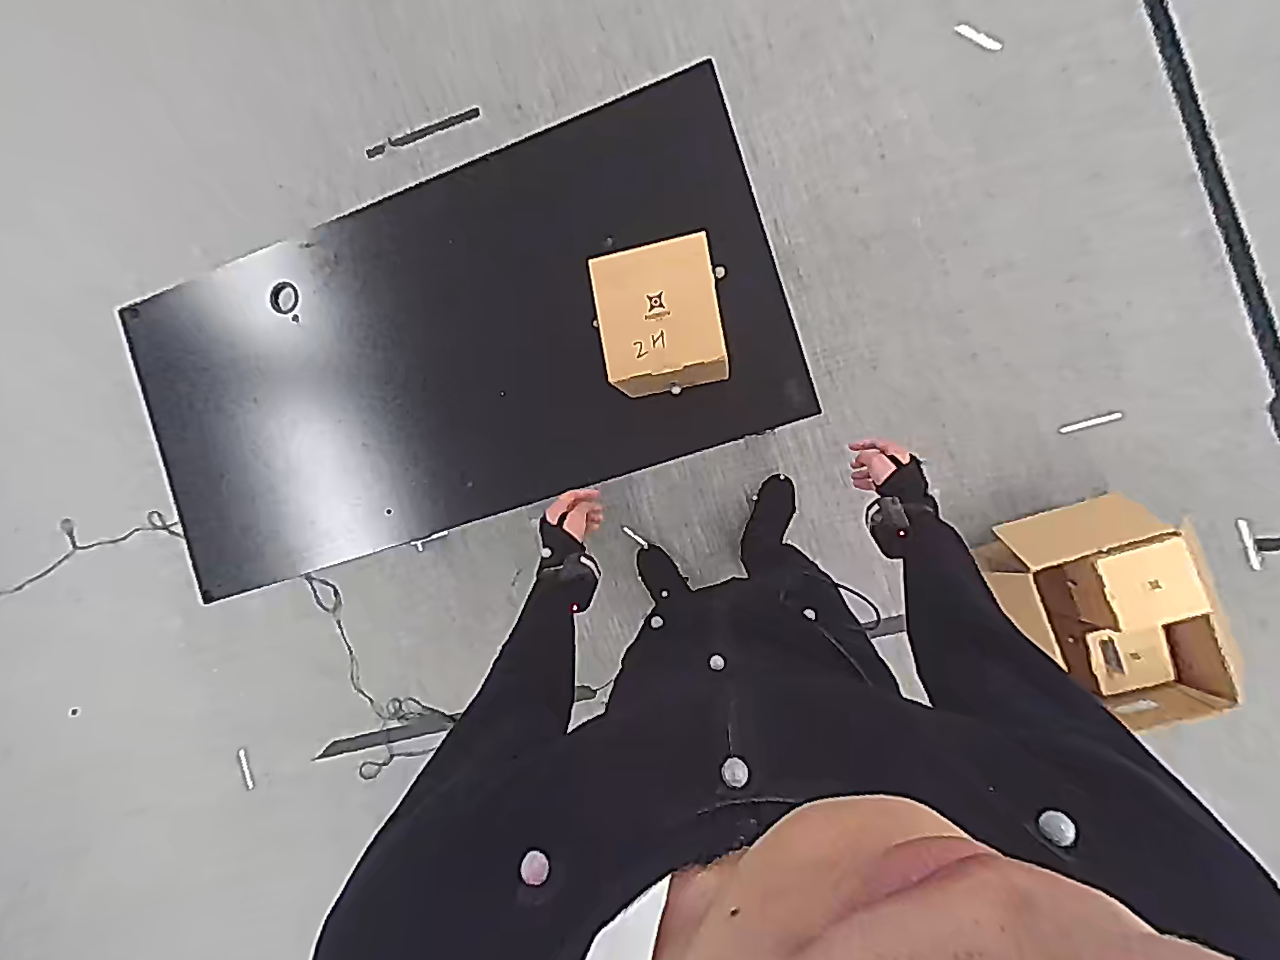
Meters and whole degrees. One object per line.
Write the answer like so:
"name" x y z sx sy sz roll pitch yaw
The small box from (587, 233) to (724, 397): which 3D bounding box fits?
"small box" 0.031 -0.232 0.805 0.168 0.176 0.179 -9 90 10
